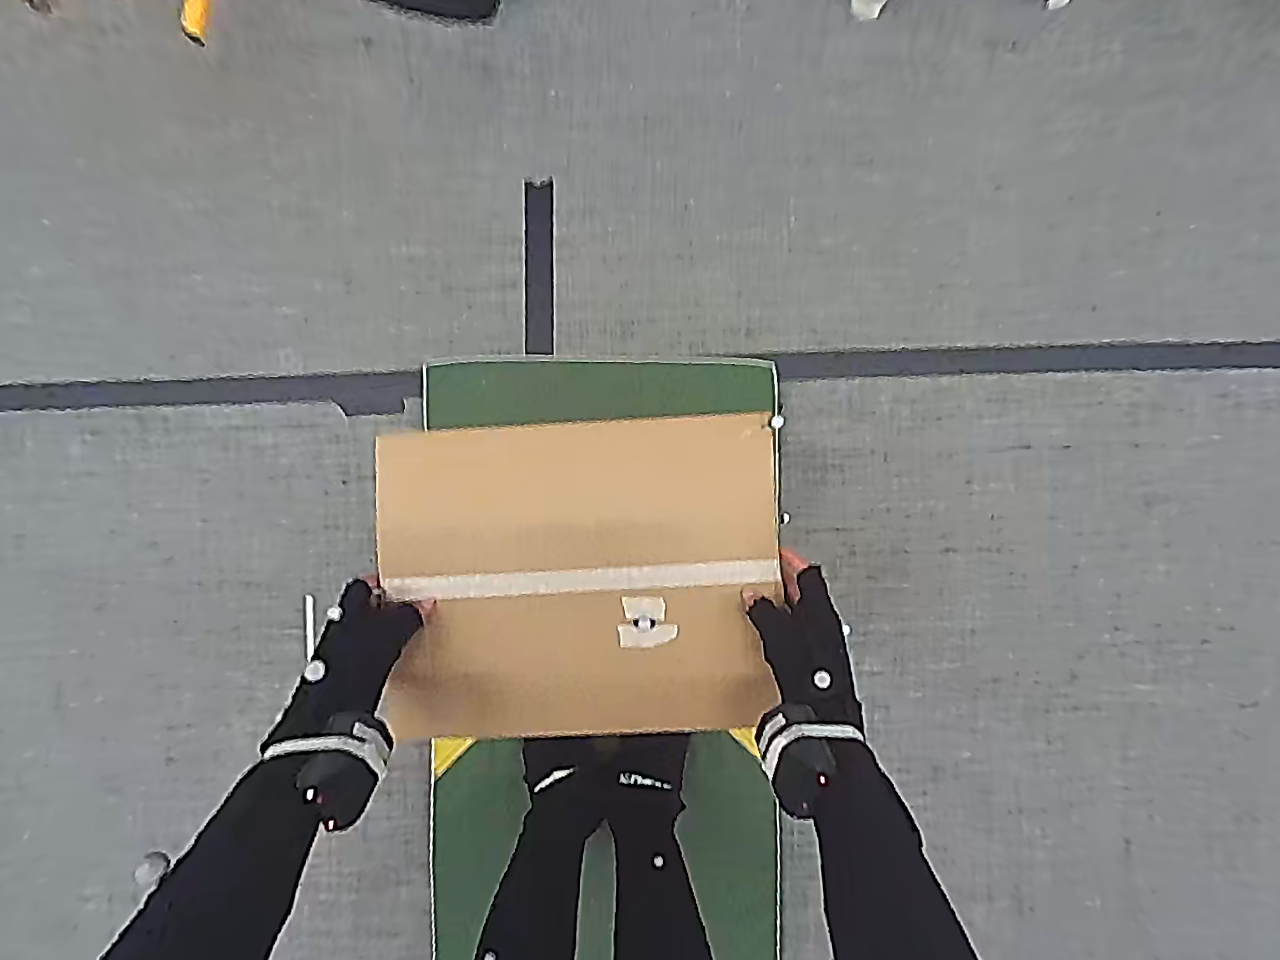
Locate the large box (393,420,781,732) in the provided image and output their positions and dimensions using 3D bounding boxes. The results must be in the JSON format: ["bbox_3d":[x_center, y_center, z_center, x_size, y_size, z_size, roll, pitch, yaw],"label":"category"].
[{"bbox_3d":[-0.058,0.108,0.719,0.408,0.320,0.320,-3,88,1],"label":"large box"}]
